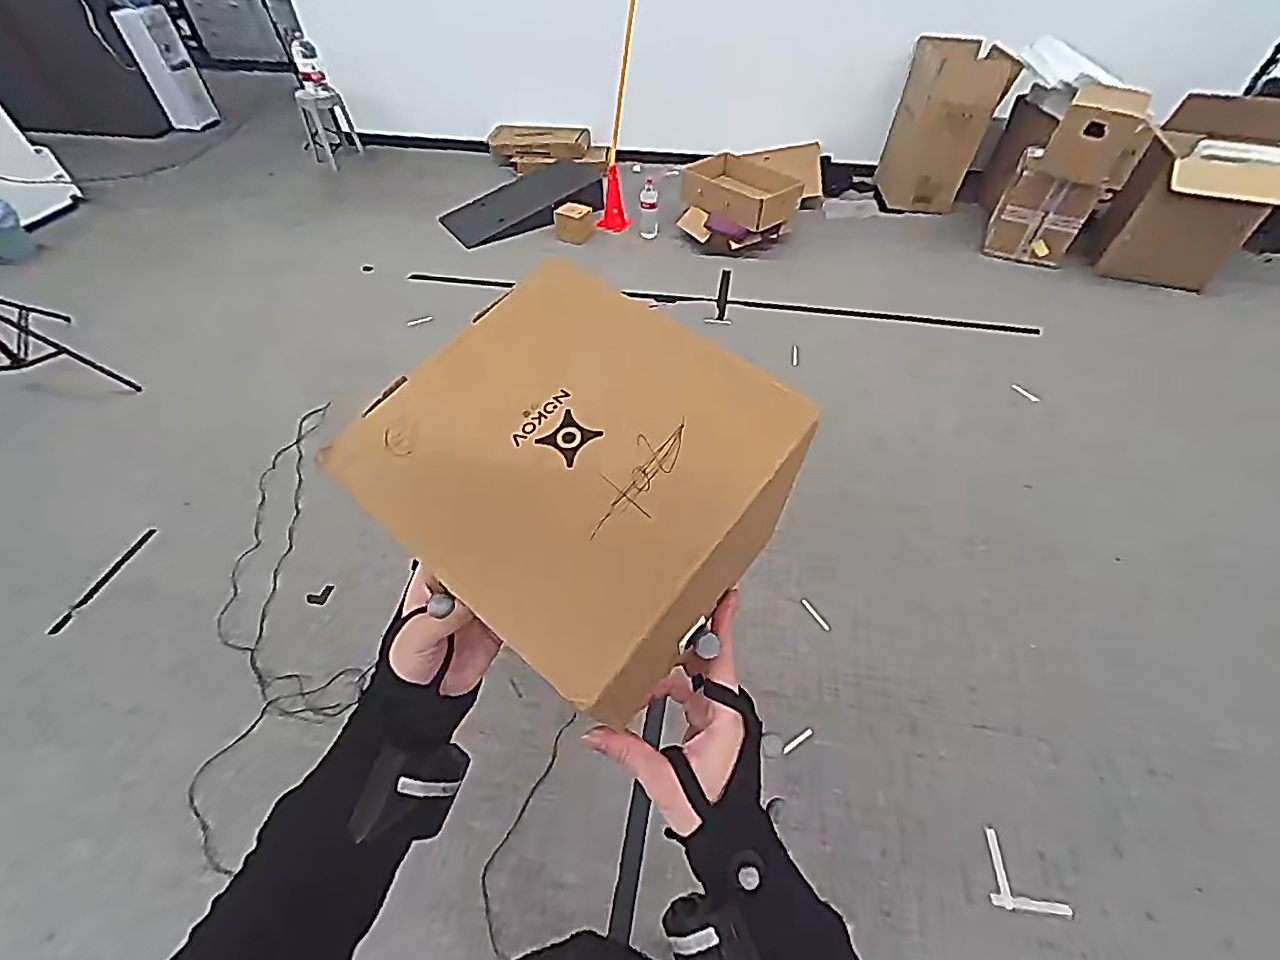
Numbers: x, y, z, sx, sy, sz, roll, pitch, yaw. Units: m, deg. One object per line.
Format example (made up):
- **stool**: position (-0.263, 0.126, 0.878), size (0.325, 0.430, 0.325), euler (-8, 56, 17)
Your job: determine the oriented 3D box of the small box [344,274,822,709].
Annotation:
- **small box**: position (-0.025, 0.019, 0.331), size (0.179, 0.176, 0.168), euler (35, 71, 18)
